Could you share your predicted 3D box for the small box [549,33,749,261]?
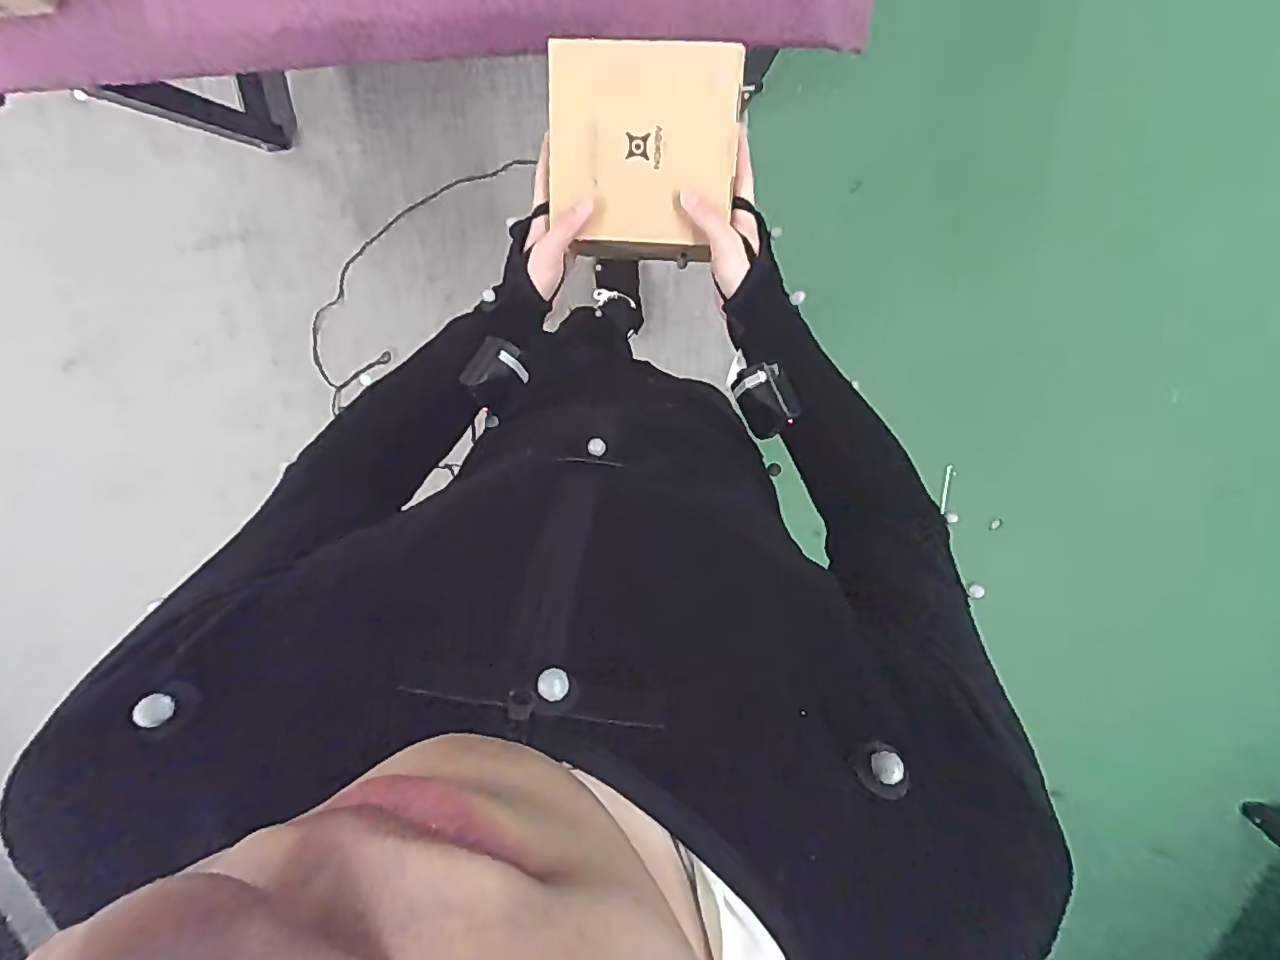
[{"bbox_3d":[0.009,-0.328,0.566,0.179,0.176,0.168,4,107,4],"label":"small box"}]
